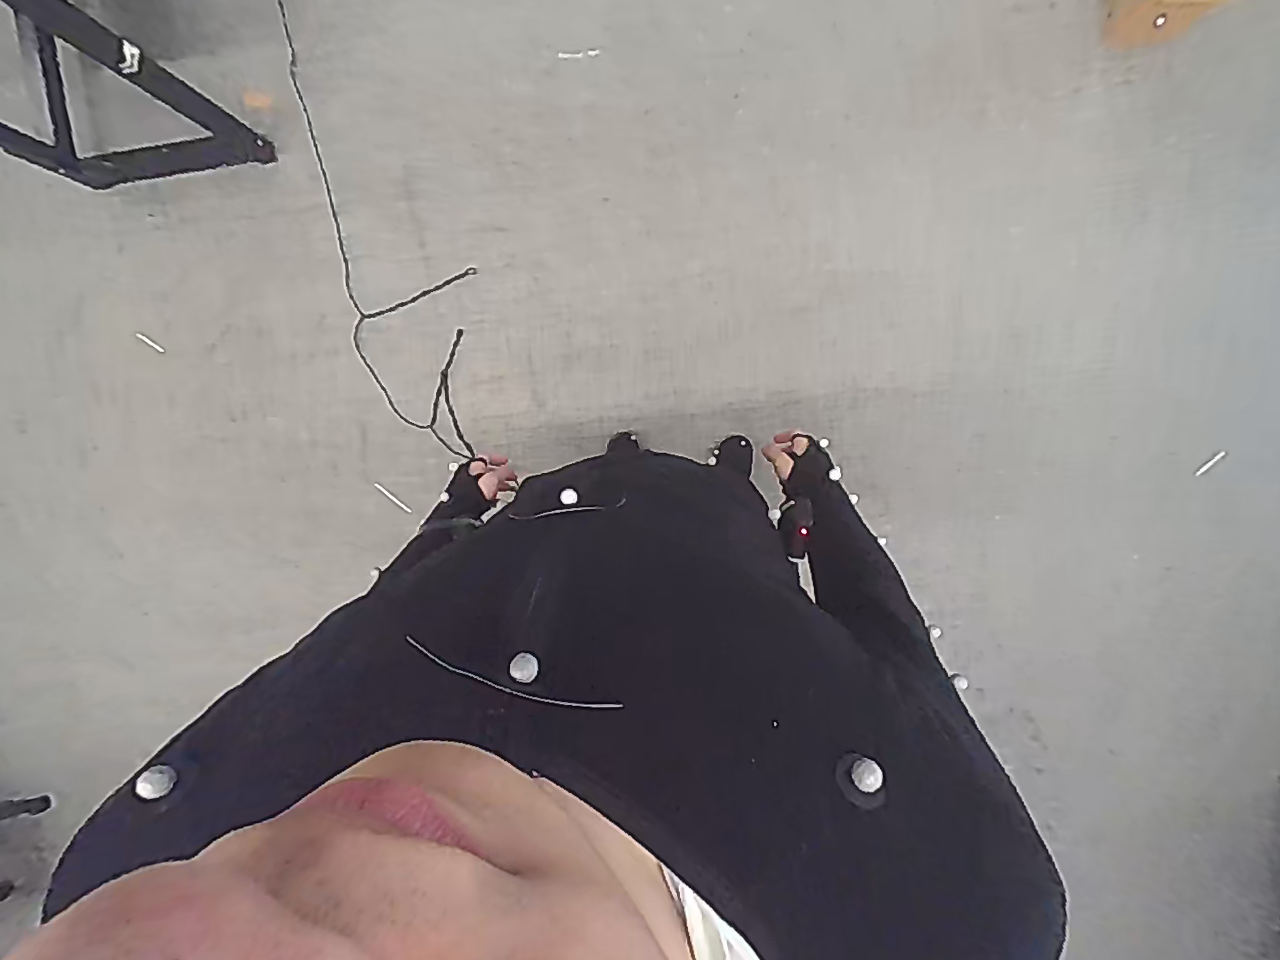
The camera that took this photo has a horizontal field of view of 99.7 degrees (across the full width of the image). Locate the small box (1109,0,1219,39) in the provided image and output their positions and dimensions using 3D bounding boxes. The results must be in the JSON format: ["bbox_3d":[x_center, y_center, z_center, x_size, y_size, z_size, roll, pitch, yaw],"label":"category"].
[{"bbox_3d":[1.326,-1.240,1.344,0.179,0.176,0.168,3,97,4],"label":"small box"}]
